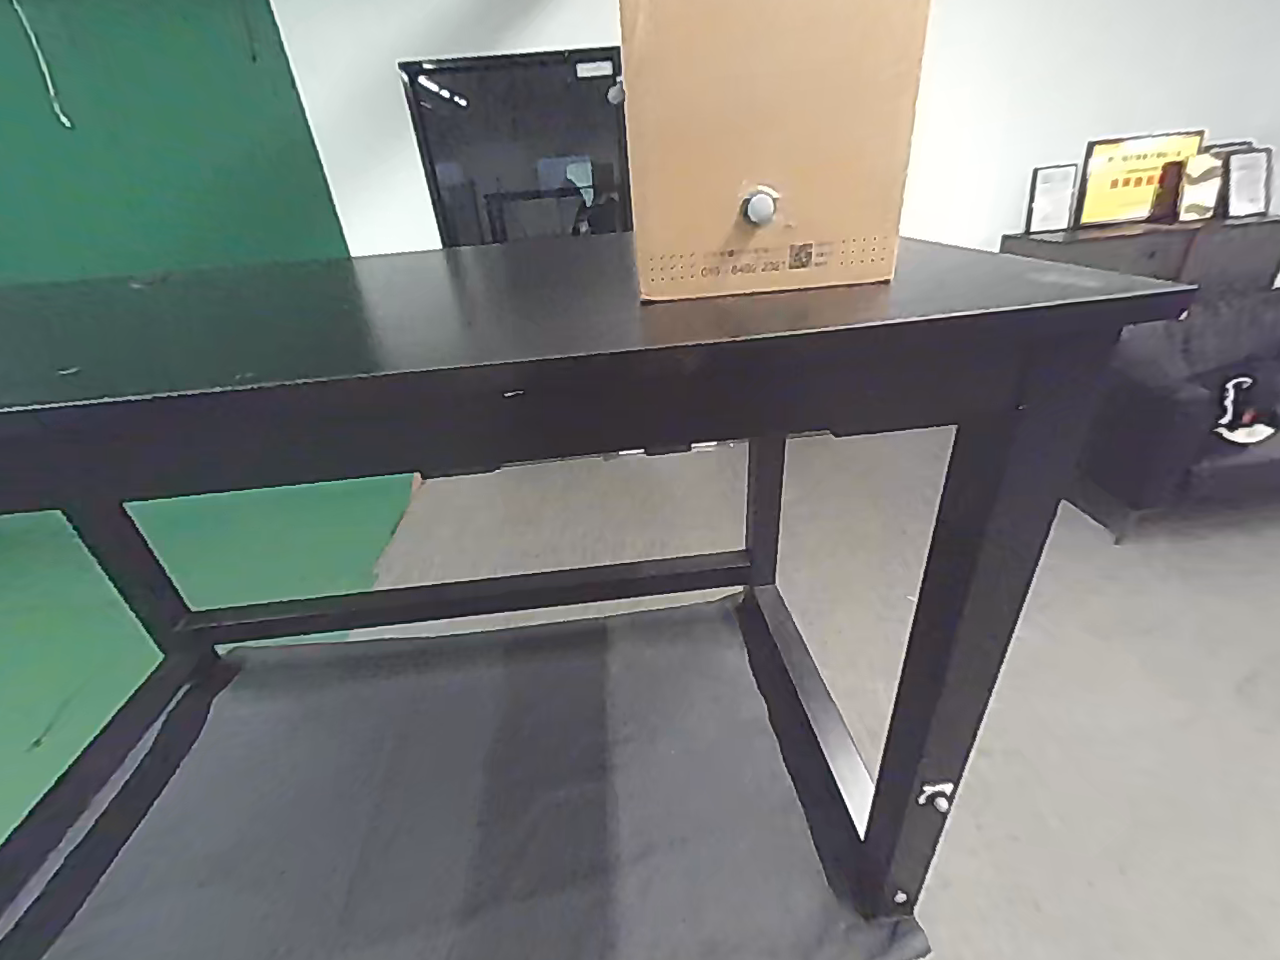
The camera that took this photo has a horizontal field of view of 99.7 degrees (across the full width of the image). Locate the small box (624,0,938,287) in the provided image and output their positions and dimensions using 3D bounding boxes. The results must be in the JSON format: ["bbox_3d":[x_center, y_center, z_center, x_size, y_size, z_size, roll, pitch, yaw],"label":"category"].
[{"bbox_3d":[0.079,-0.239,0.383,0.168,0.176,0.179,-4,30,3],"label":"small box"}]
